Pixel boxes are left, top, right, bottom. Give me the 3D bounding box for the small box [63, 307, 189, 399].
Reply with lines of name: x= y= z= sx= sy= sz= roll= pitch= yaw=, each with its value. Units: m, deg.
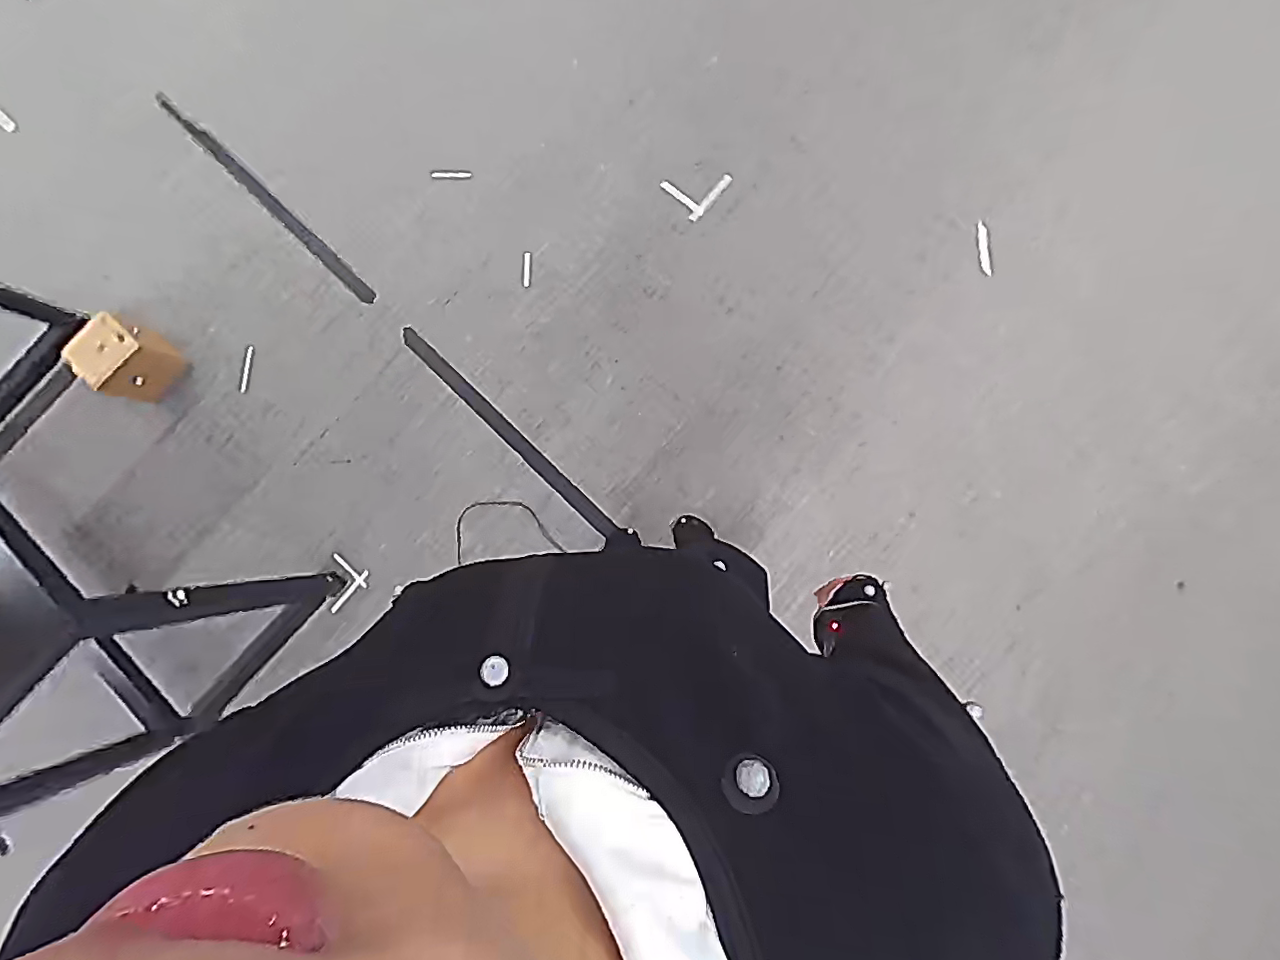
small box: x=-1.488 y=-0.361 z=1.578 sx=0.168 sy=0.176 sz=0.179 roll=42 pitch=89 yaw=6
